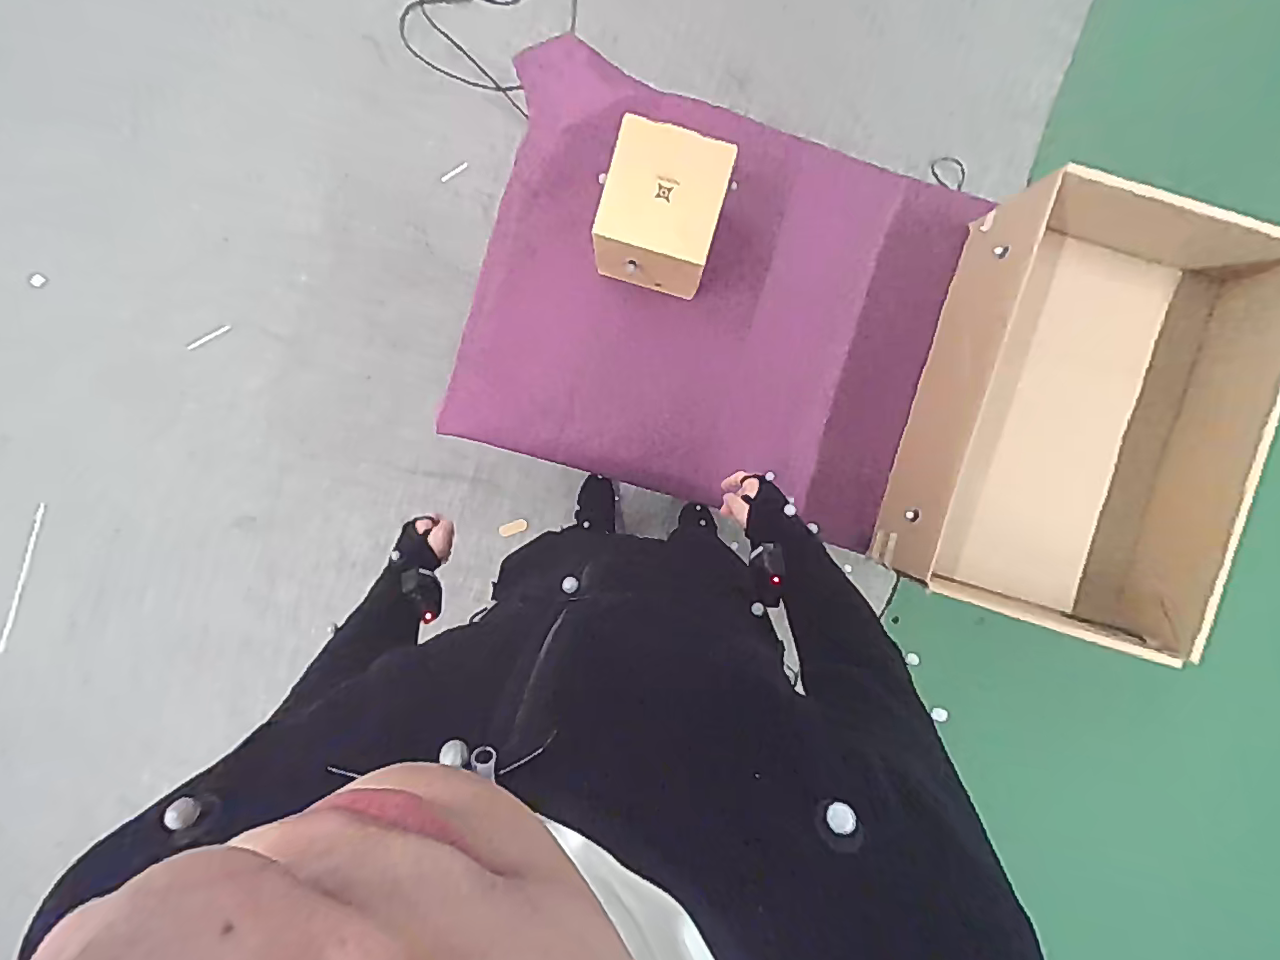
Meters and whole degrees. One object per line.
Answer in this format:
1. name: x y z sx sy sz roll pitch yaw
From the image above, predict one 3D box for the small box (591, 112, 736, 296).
1. small box: 0.033 -0.405 0.827 0.168 0.176 0.179 16 90 -1
